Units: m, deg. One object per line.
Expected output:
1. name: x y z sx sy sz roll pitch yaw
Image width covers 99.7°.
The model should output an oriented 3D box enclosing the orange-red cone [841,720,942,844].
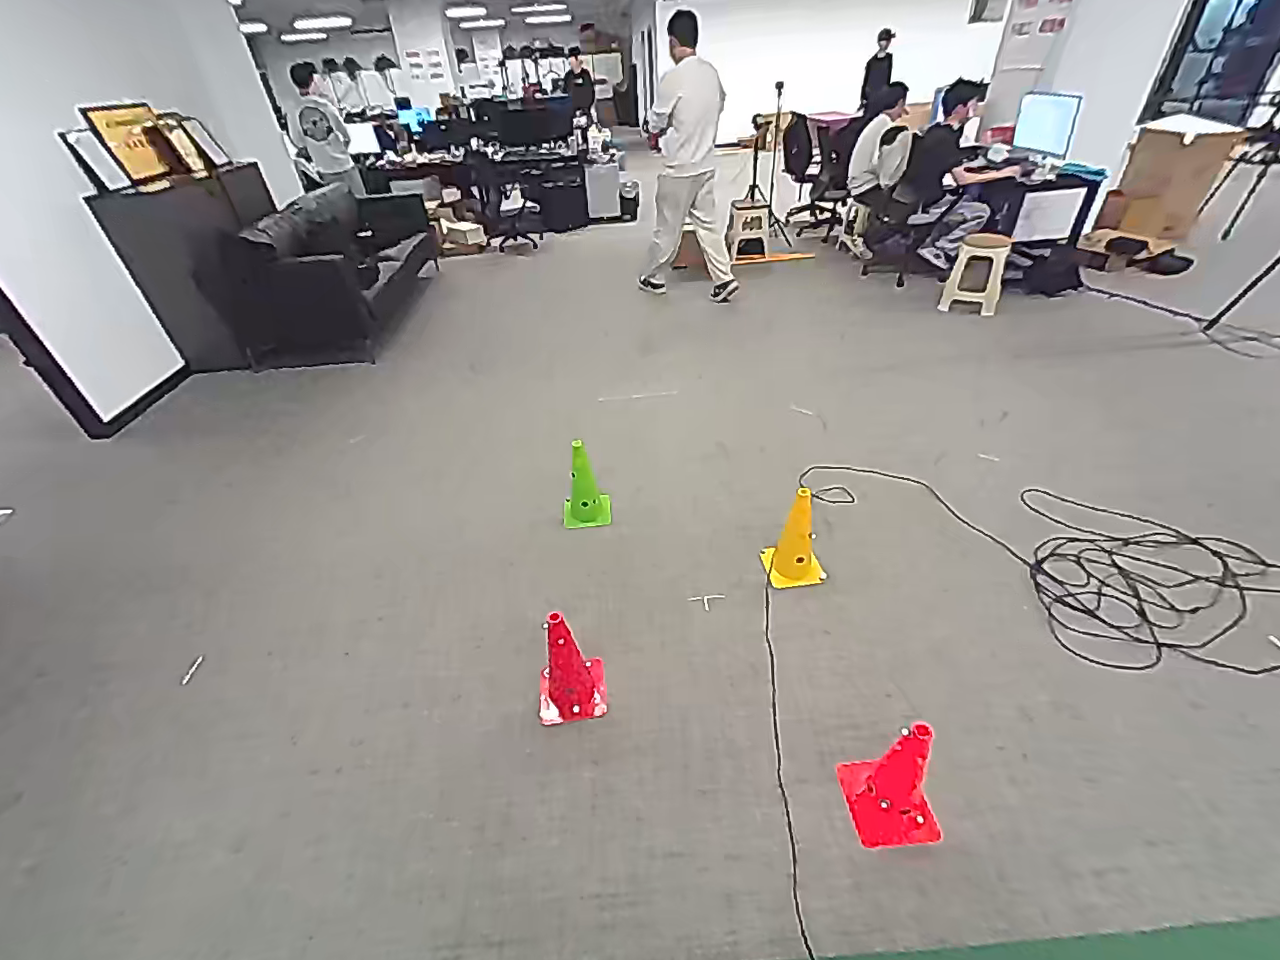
1. orange-red cone: 0.619 0.670 1.264 0.198 0.360 0.199 -4 36 -1

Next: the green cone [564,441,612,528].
1. green cone: -0.234 0.002 2.233 0.202 0.368 0.200 -5 38 -3

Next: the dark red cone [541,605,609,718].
1. dark red cone: -0.210 0.495 1.545 0.202 0.394 0.201 -9 39 -5
